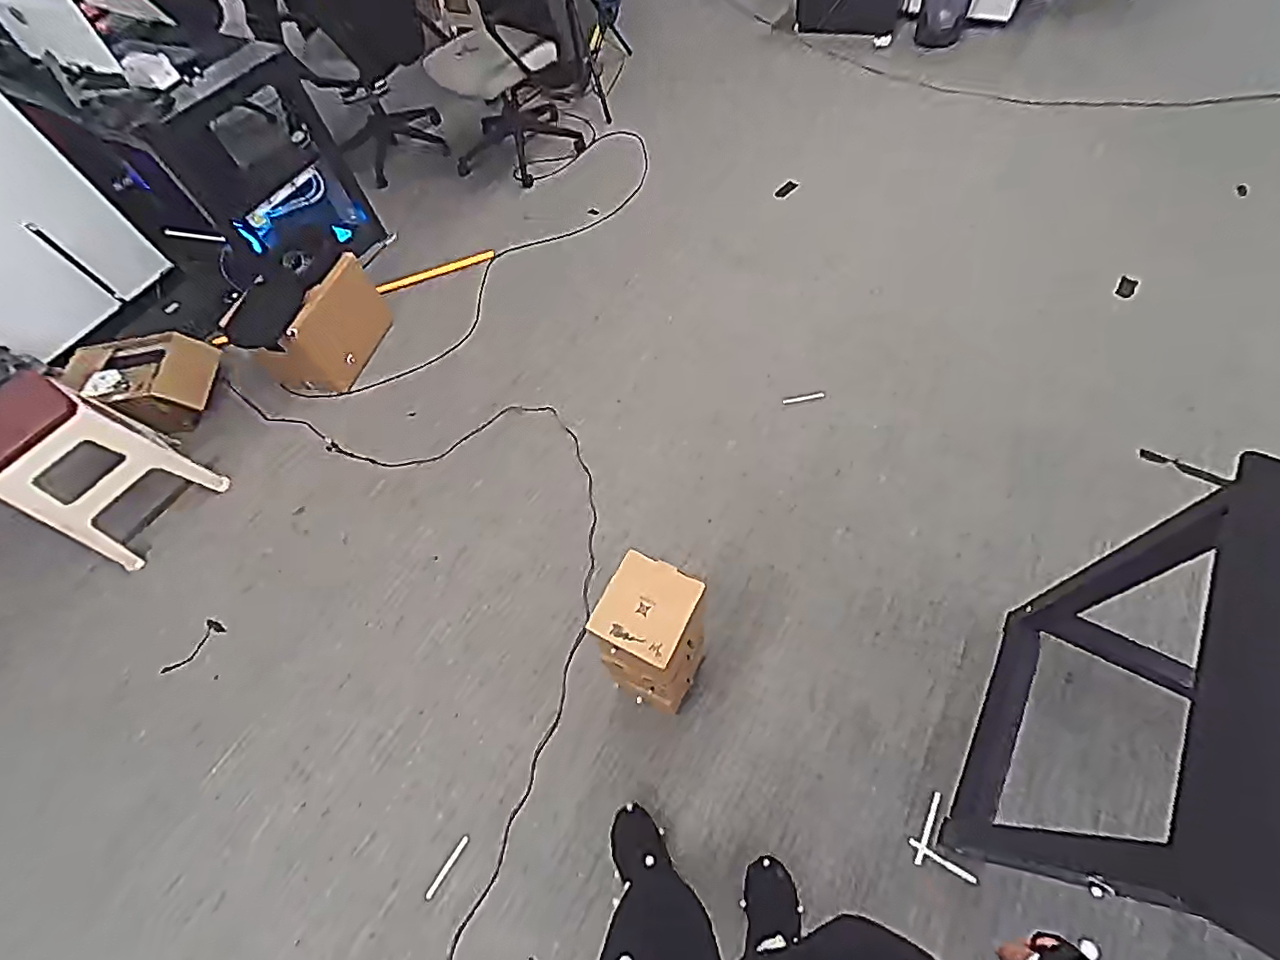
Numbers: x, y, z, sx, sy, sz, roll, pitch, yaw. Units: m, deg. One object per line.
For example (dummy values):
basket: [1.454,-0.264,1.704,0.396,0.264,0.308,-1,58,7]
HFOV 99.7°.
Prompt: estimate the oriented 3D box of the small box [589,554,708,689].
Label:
small box: [0.022,0.280,1.060,0.168,0.176,0.179,23,64,19]

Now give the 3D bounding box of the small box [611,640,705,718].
small box: [0.050,0.460,1.331,0.168,0.176,0.179,22,65,19]

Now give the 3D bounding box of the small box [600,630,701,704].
small box: [0.034,0.372,1.196,0.168,0.176,0.179,20,62,17]
